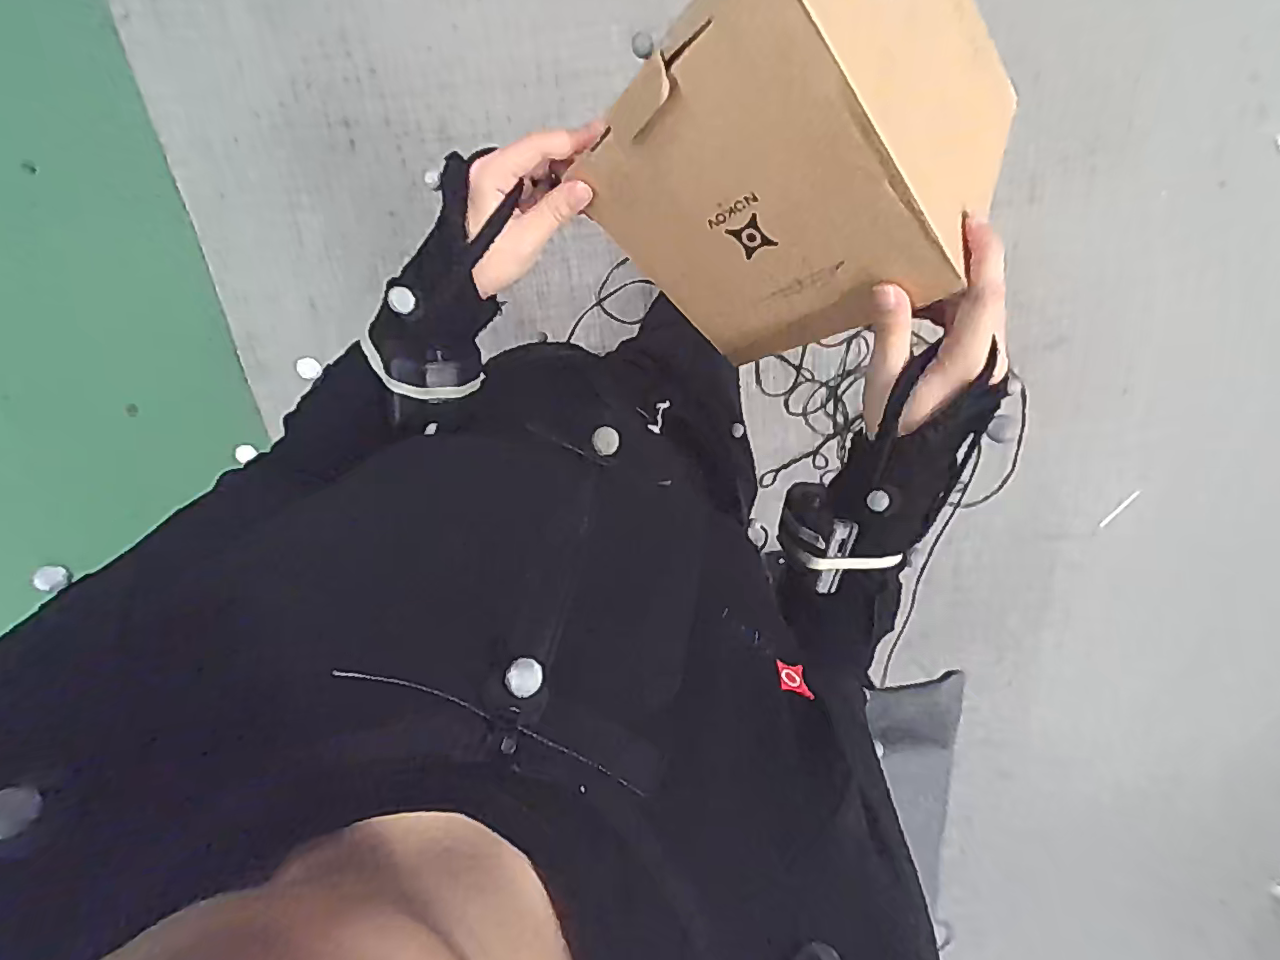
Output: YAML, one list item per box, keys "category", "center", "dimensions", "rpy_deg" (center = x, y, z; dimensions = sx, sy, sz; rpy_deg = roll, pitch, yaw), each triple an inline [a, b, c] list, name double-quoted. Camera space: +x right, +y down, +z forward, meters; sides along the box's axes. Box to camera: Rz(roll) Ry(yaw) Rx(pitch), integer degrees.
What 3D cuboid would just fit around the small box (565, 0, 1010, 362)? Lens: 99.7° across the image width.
- category: "small box"
  center: [0.092, -0.208, 0.327]
  dimensions: [0.179, 0.168, 0.176]
  rpy_deg: [35, 67, -27]
